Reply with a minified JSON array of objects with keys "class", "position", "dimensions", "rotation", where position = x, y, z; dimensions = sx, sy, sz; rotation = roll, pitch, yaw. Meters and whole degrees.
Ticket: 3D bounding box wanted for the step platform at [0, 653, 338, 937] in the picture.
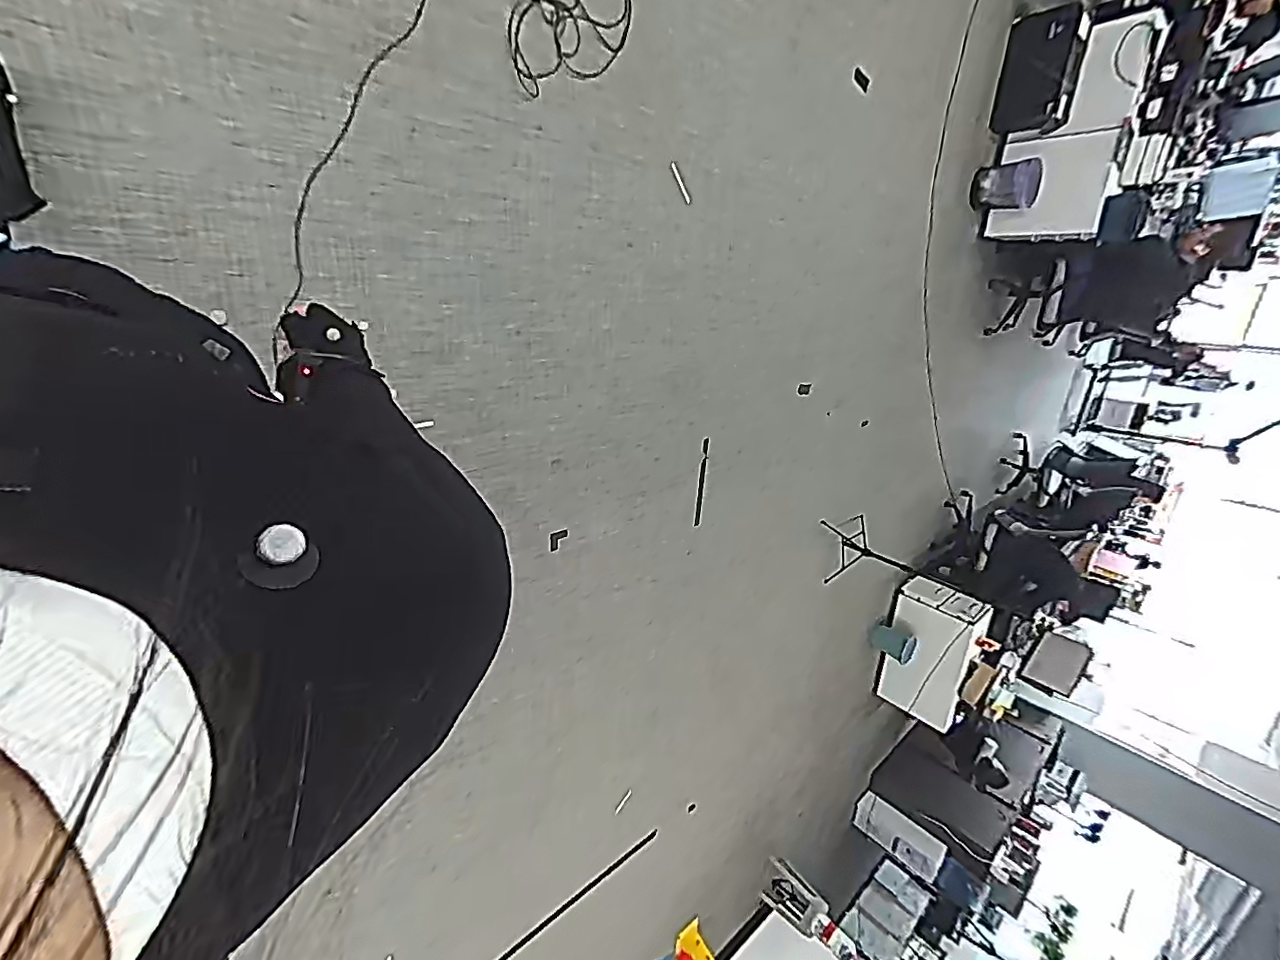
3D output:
[{"class":"step platform","position":[-1.071,0.671,1.217],"dimensions":[0.684,0.204,0.286],"rotation":[-15,116,-38]}]
